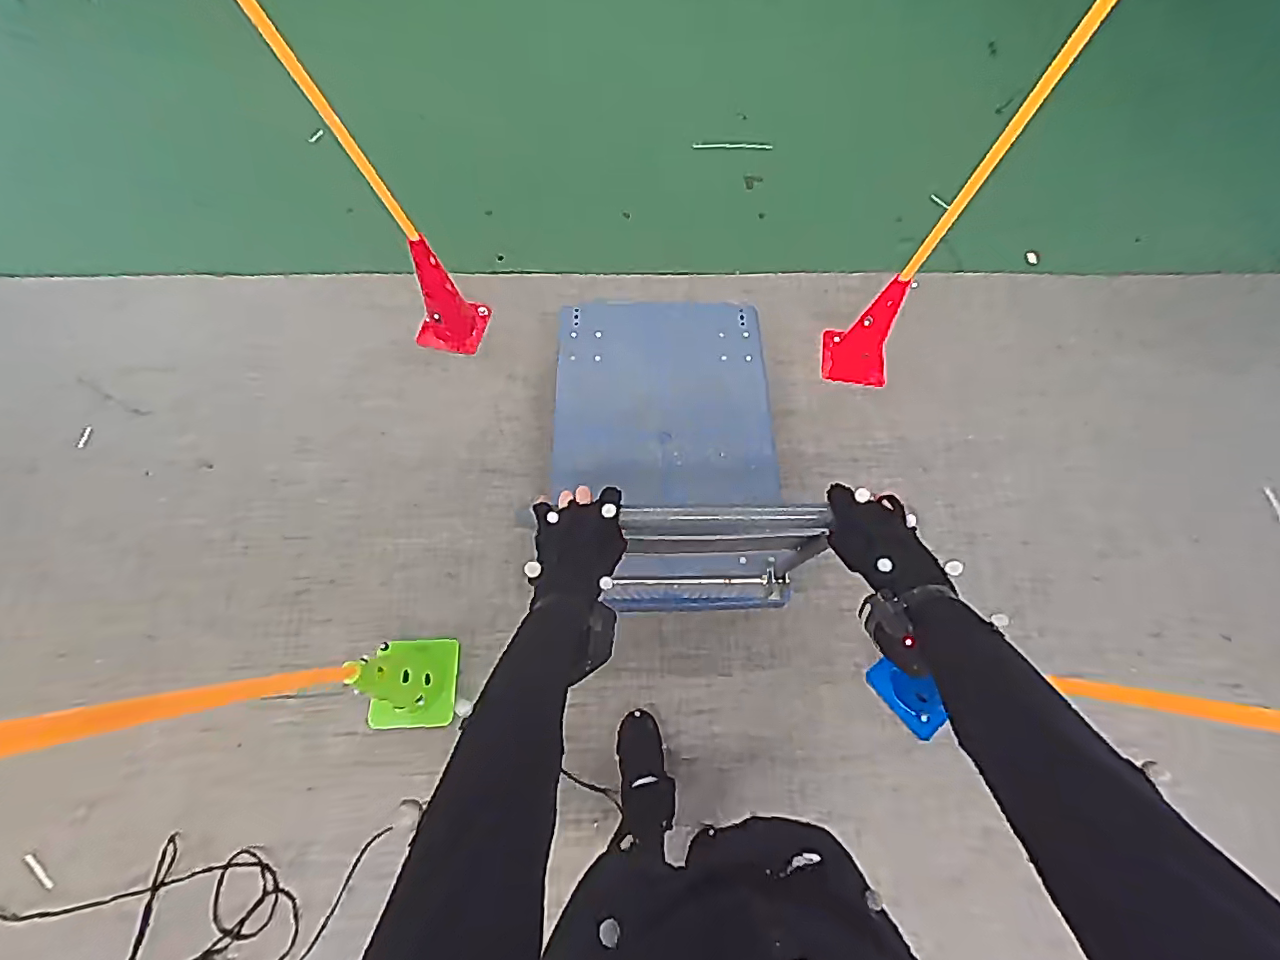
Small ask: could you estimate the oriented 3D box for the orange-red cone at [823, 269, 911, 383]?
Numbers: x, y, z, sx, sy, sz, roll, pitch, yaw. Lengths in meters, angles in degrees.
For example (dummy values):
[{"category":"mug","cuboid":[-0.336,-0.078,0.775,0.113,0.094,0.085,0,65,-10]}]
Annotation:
[{"category":"orange-red cone","cuboid":[0.689,-0.468,1.569,0.198,0.360,0.199,9,68,4]}]
